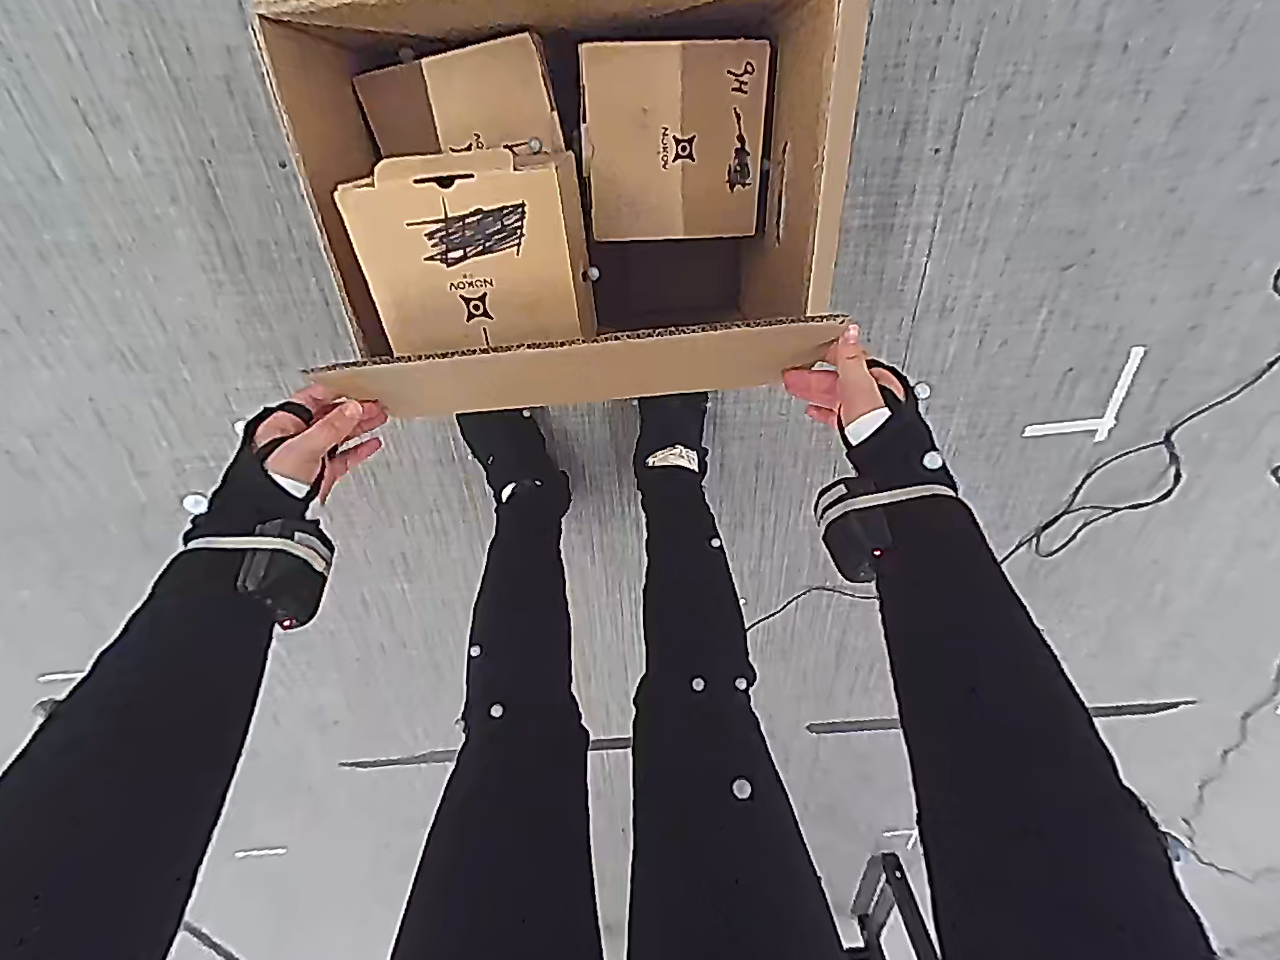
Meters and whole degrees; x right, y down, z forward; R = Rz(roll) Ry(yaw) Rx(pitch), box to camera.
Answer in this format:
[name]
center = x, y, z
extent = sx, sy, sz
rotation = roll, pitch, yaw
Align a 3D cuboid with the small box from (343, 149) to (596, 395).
[small box]
center = -0.132, -0.198, 0.499
extent = 0.168, 0.176, 0.179
rotation = -5, 125, 1
